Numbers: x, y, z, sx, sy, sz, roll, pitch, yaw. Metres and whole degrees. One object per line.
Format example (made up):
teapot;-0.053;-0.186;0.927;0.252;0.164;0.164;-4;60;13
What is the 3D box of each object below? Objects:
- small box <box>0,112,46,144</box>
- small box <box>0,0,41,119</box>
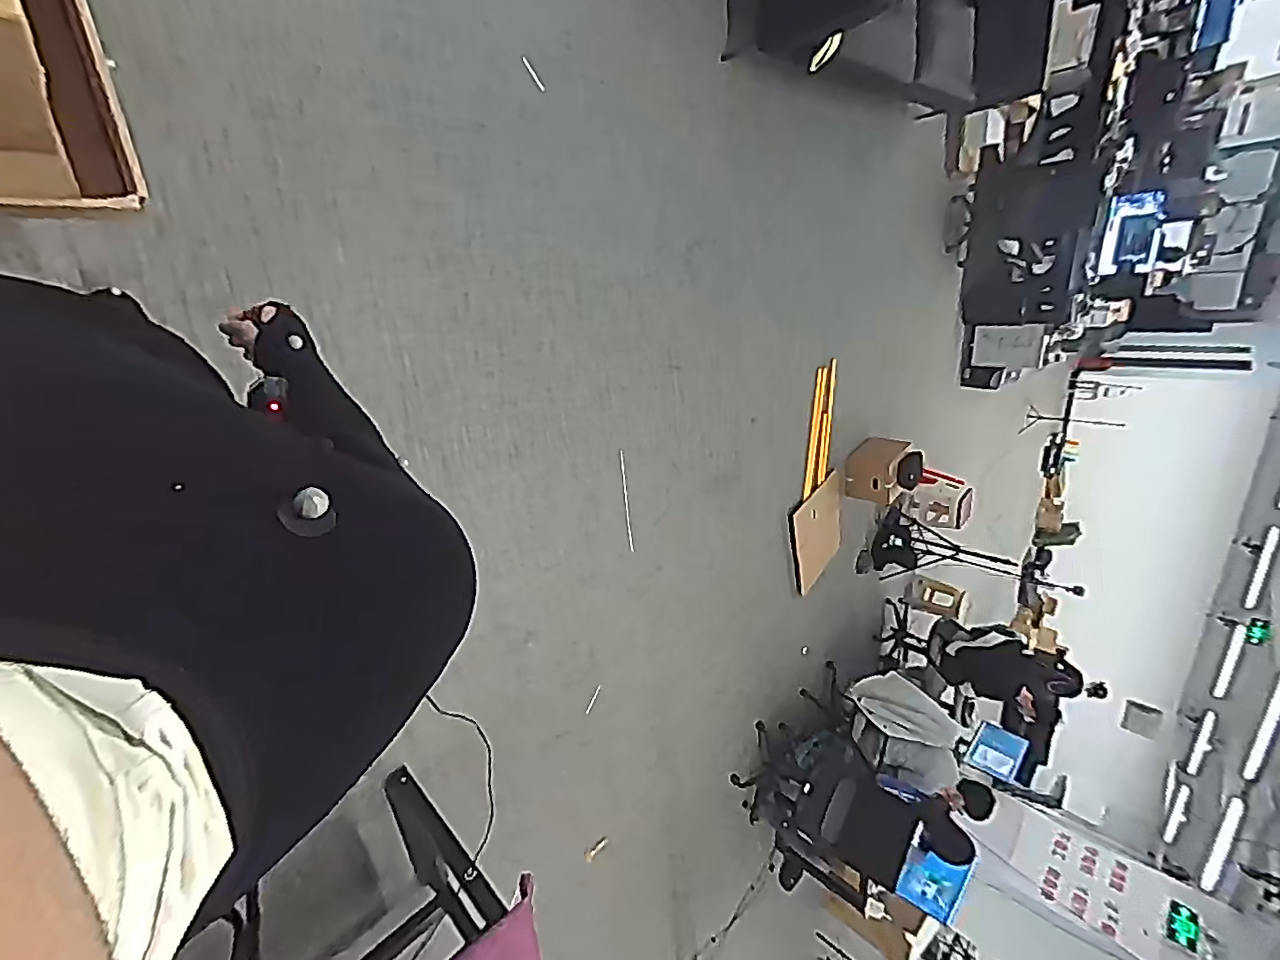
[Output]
small box;-0.871;-0.530;0.656;0.168;0.176;0.179;-22;115;-41
small box;-0.758;-0.497;0.544;0.168;0.176;0.179;-23;117;-40
